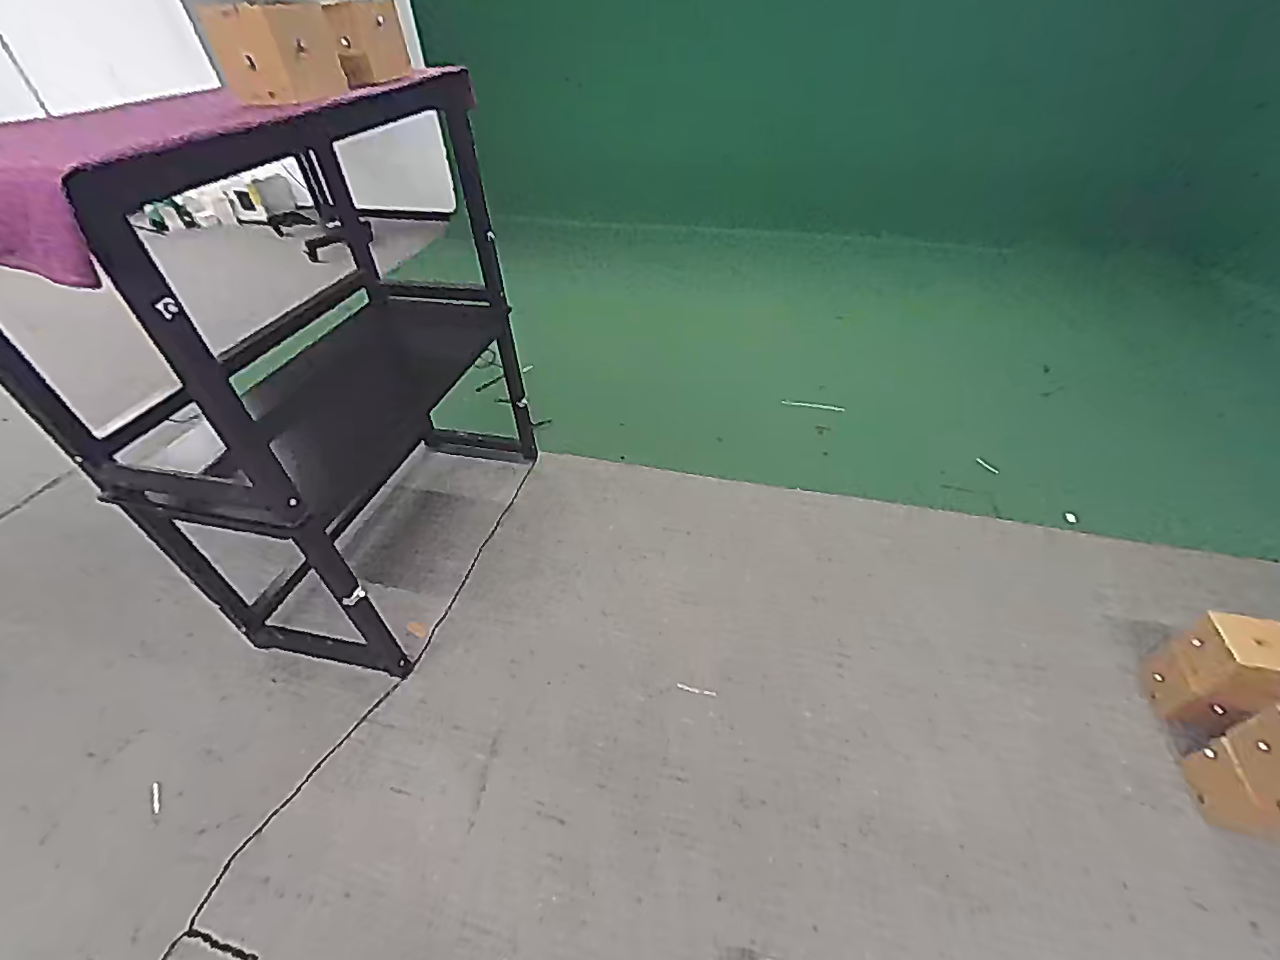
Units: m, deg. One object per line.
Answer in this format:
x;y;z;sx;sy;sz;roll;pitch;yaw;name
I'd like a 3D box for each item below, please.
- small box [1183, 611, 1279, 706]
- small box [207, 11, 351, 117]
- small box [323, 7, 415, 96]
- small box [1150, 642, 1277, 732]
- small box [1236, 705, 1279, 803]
1.619;0.479;1.443;0.179;0.176;0.168;8;43;12;small box
-0.791;-0.926;1.209;0.168;0.176;0.179;8;44;14;small box
-0.731;-1.132;1.432;0.168;0.176;0.179;10;44;15;small box
1.626;0.597;1.553;0.179;0.176;0.168;10;44;14;small box
1.564;0.657;1.247;0.168;0.176;0.179;11;43;14;small box
